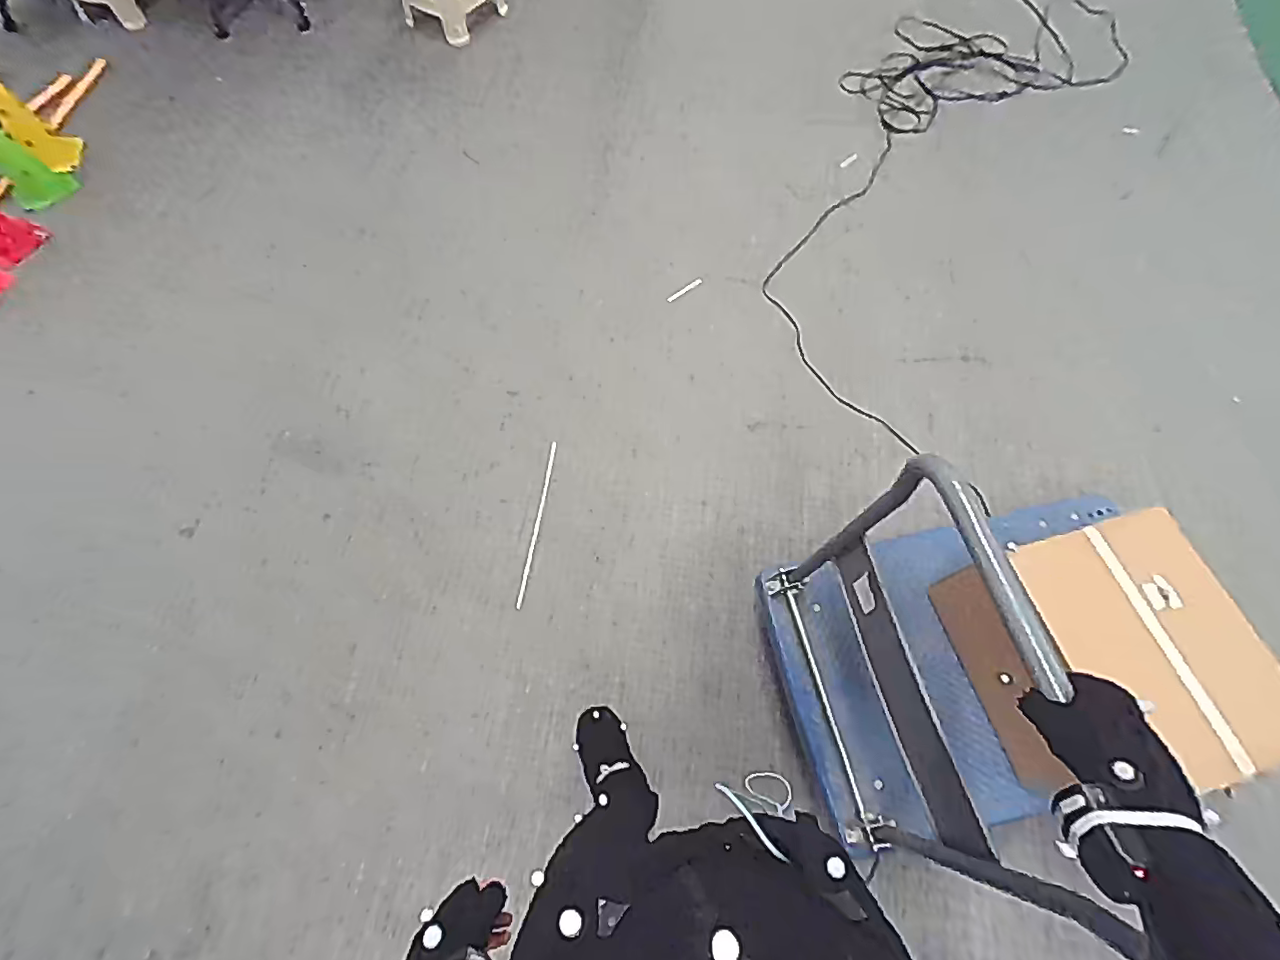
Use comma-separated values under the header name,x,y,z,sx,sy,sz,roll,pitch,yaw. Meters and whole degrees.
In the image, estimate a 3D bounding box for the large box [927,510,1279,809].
name,x,y,z,sx,sy,sz,roll,pitch,yaw
large box,0.827,0.325,1.003,0.320,0.320,0.408,-14,66,-5
